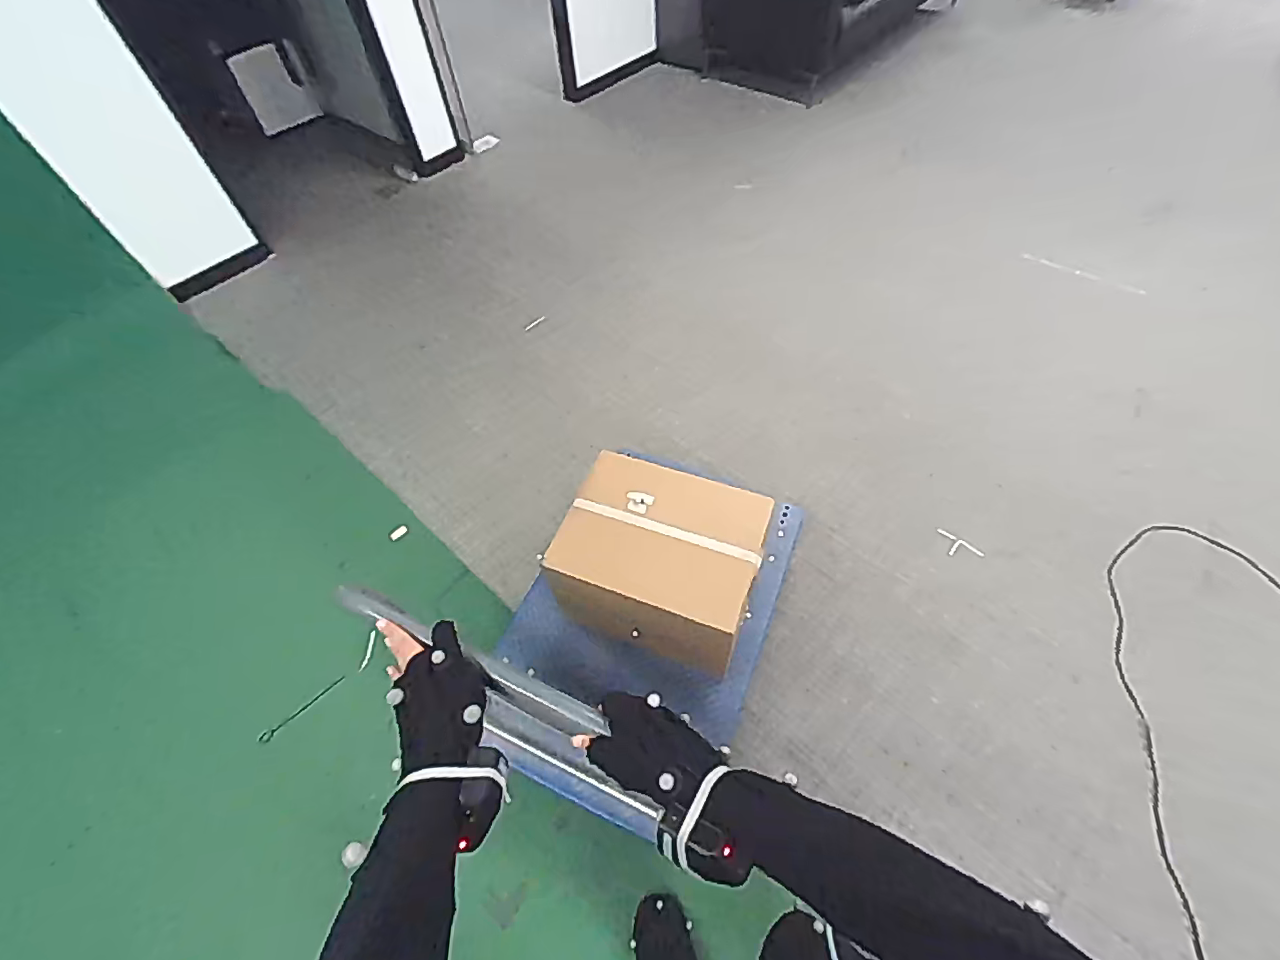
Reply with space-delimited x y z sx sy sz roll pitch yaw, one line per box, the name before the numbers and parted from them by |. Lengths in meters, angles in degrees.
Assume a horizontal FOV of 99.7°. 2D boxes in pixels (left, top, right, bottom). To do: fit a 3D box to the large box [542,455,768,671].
large box | 0.050 0.192 1.243 0.408 0.320 0.320 16 57 15
